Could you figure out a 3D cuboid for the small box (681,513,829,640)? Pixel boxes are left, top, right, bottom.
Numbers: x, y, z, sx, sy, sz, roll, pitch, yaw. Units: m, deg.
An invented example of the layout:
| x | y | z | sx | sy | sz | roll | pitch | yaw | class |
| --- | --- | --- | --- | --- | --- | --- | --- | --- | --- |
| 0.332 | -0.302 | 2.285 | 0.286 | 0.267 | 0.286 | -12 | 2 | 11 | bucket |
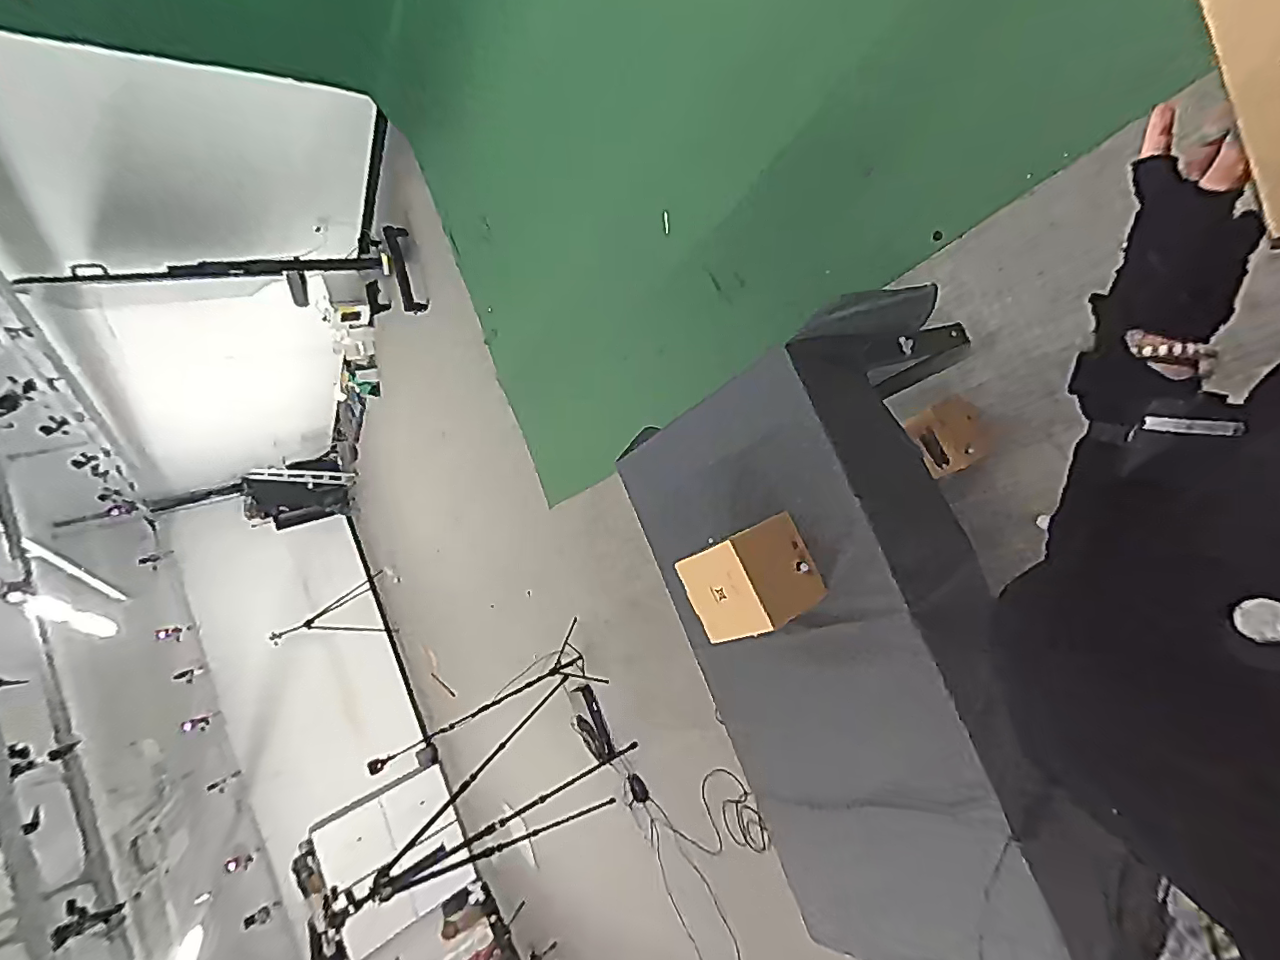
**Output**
| x | y | z | sx | sy | sz | roll | pitch | yaw | class |
| --- | --- | --- | --- | --- | --- | --- | --- | --- | --- |
| 0.214 | 0.181 | 1.013 | 0.179 | 0.176 | 0.168 | -37 | 76 | 53 | small box |
